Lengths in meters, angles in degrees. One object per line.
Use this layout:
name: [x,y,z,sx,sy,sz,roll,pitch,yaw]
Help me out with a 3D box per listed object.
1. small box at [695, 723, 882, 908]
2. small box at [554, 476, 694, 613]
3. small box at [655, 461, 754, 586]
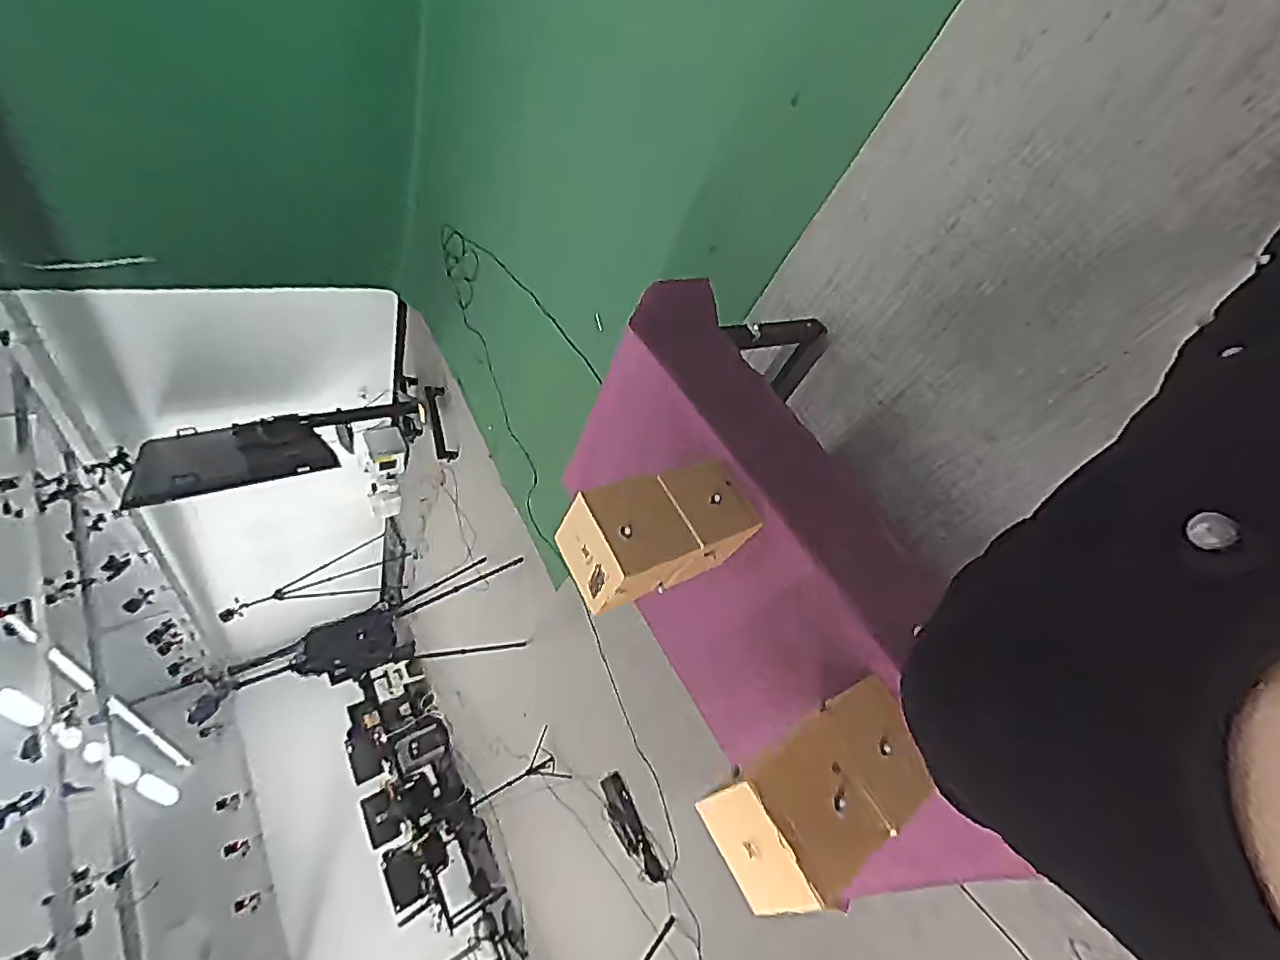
small box: [0.221,0.501,0.815,0.168,0.176,0.179,56,140,23]
small box: [-0.030,0.114,1.002,0.179,0.176,0.168,59,141,21]
small box: [0.104,0.083,1.094,0.168,0.176,0.179,59,142,21]
